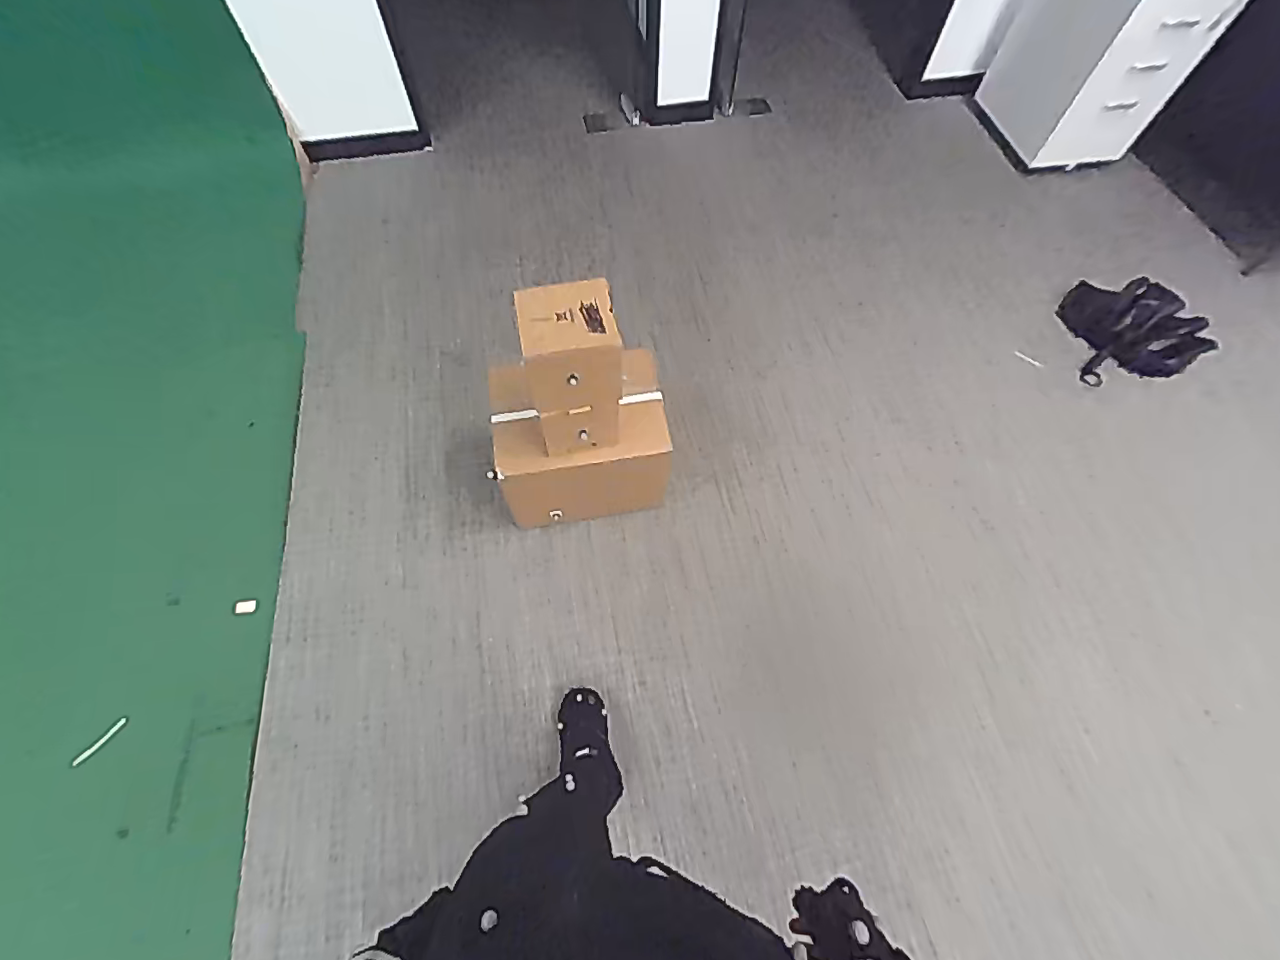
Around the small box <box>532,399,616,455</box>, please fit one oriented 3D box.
[{"bbox_3d":[-0.149,-0.170,1.187,0.168,0.176,0.179,-12,65,-8],"label":"small box"}]

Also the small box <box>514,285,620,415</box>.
[{"bbox_3d":[-0.137,-0.246,1.041,0.179,0.176,0.168,-9,63,-5],"label":"small box"}]
